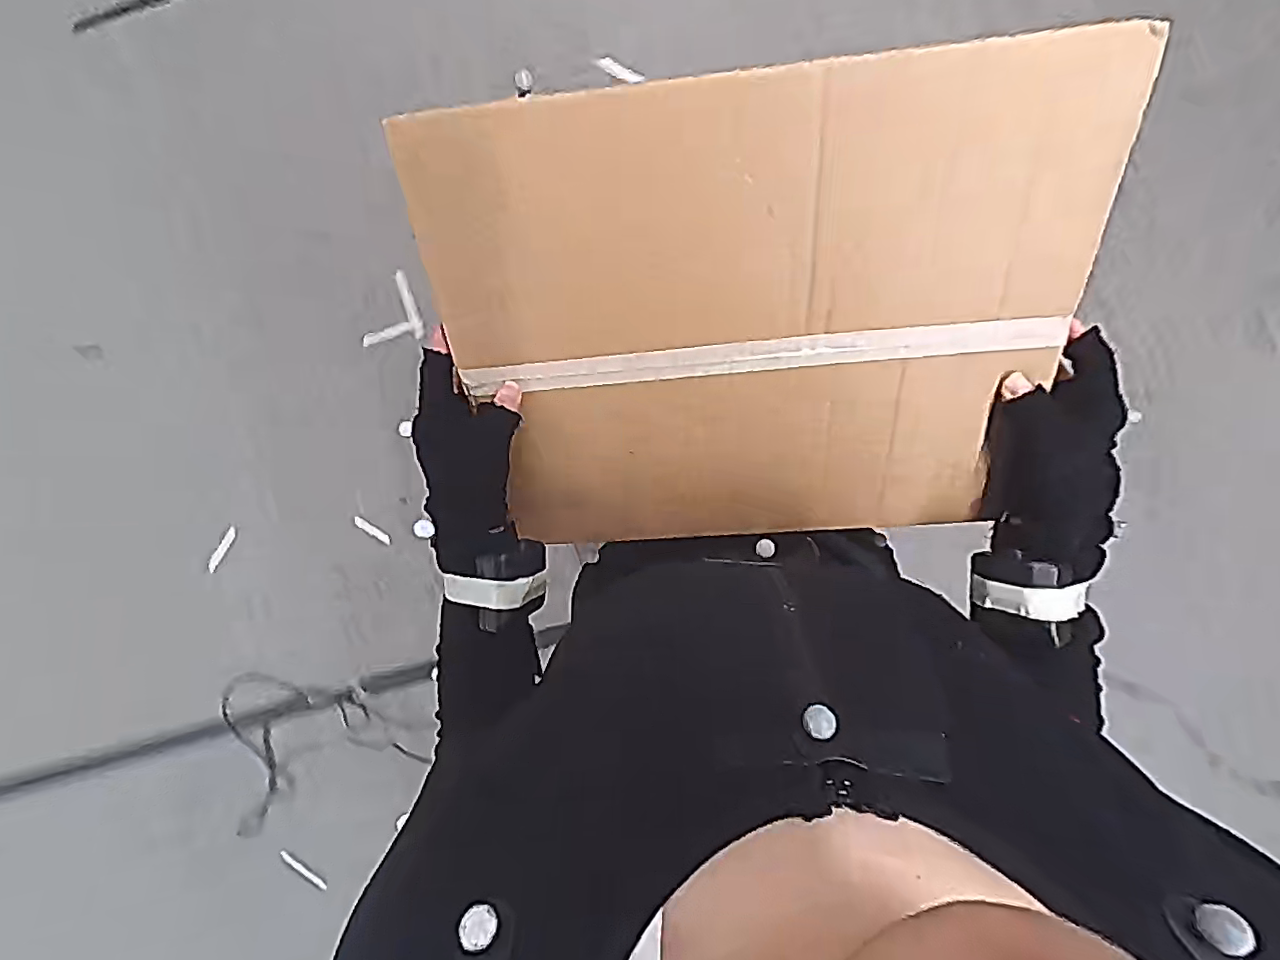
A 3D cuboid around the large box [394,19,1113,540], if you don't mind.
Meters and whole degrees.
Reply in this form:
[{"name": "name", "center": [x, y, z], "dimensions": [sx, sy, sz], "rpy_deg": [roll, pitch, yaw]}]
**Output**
[{"name": "large box", "center": [0.072, -0.174, 0.502], "dimensions": [0.408, 0.320, 0.320], "rpy_deg": [-5, 125, 5]}]
